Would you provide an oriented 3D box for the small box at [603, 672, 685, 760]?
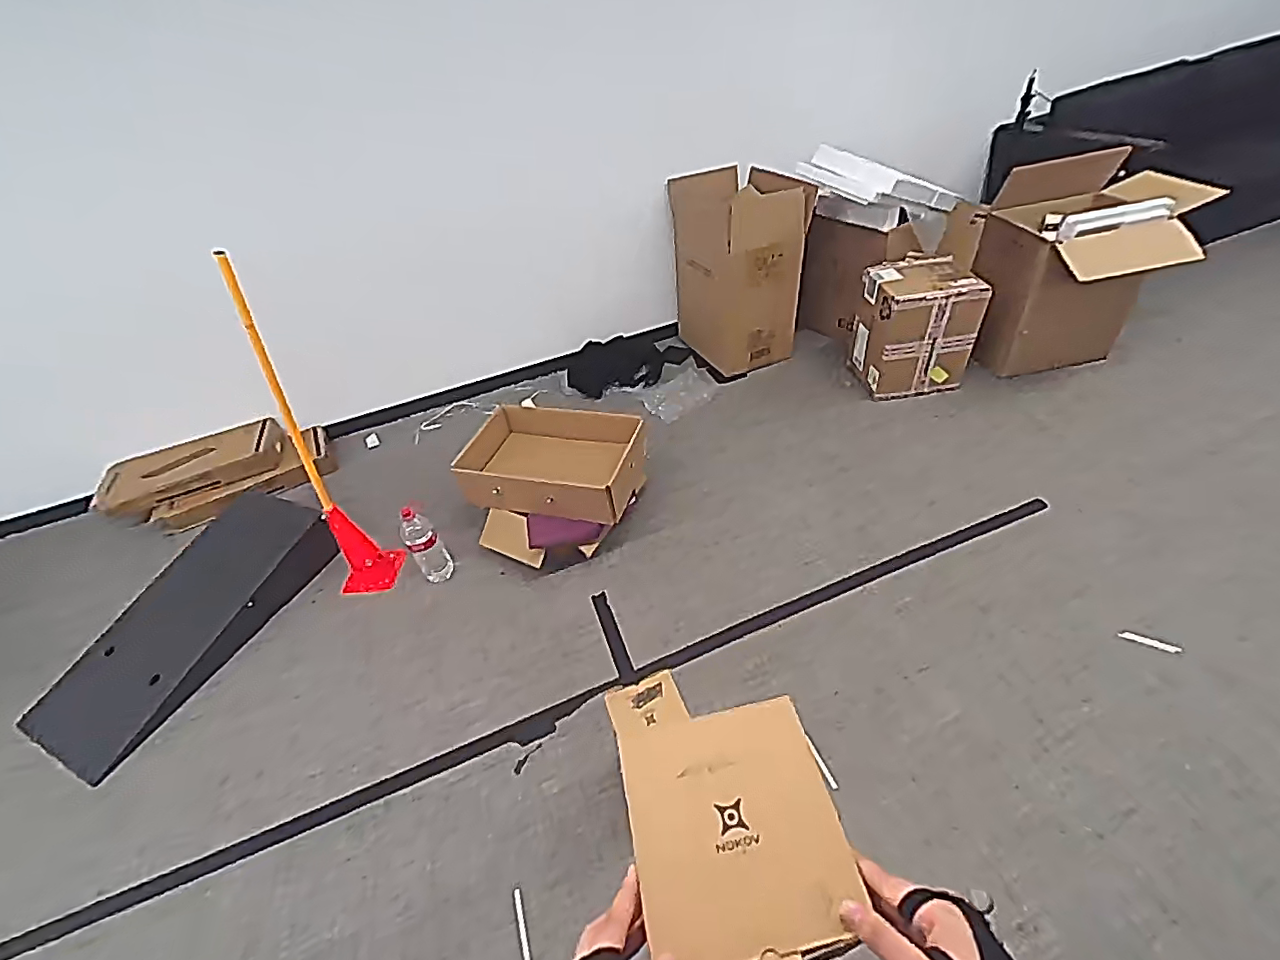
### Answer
[{"bbox_3d":[0.024,0.588,1.257,0.168,0.176,0.179,-19,44,-11],"label":"small box"}]

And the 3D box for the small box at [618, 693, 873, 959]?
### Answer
[{"bbox_3d":[0.081,0.328,0.493,0.168,0.176,0.179,-10,44,-5],"label":"small box"}]
